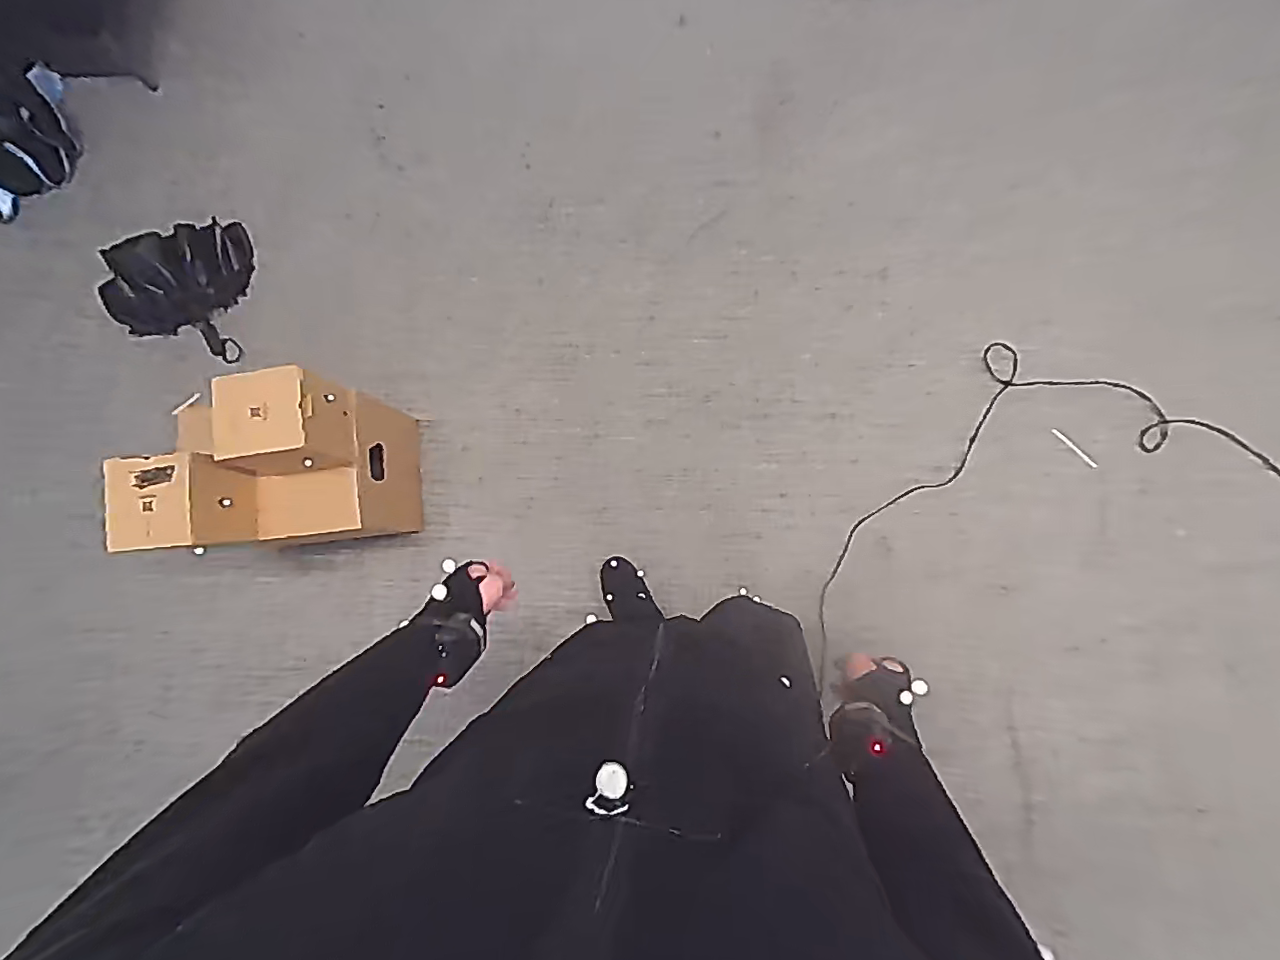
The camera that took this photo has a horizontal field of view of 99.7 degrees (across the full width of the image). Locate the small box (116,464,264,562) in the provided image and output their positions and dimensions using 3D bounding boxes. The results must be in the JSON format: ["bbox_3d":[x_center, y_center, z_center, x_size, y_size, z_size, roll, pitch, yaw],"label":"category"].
[{"bbox_3d":[-0.897,0.069,1.091,0.168,0.176,0.179,-5,85,2],"label":"small box"}]

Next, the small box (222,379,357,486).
[{"bbox_3d":[-0.702,-0.090,1.103,0.179,0.176,0.168,-10,79,3],"label":"small box"}]
